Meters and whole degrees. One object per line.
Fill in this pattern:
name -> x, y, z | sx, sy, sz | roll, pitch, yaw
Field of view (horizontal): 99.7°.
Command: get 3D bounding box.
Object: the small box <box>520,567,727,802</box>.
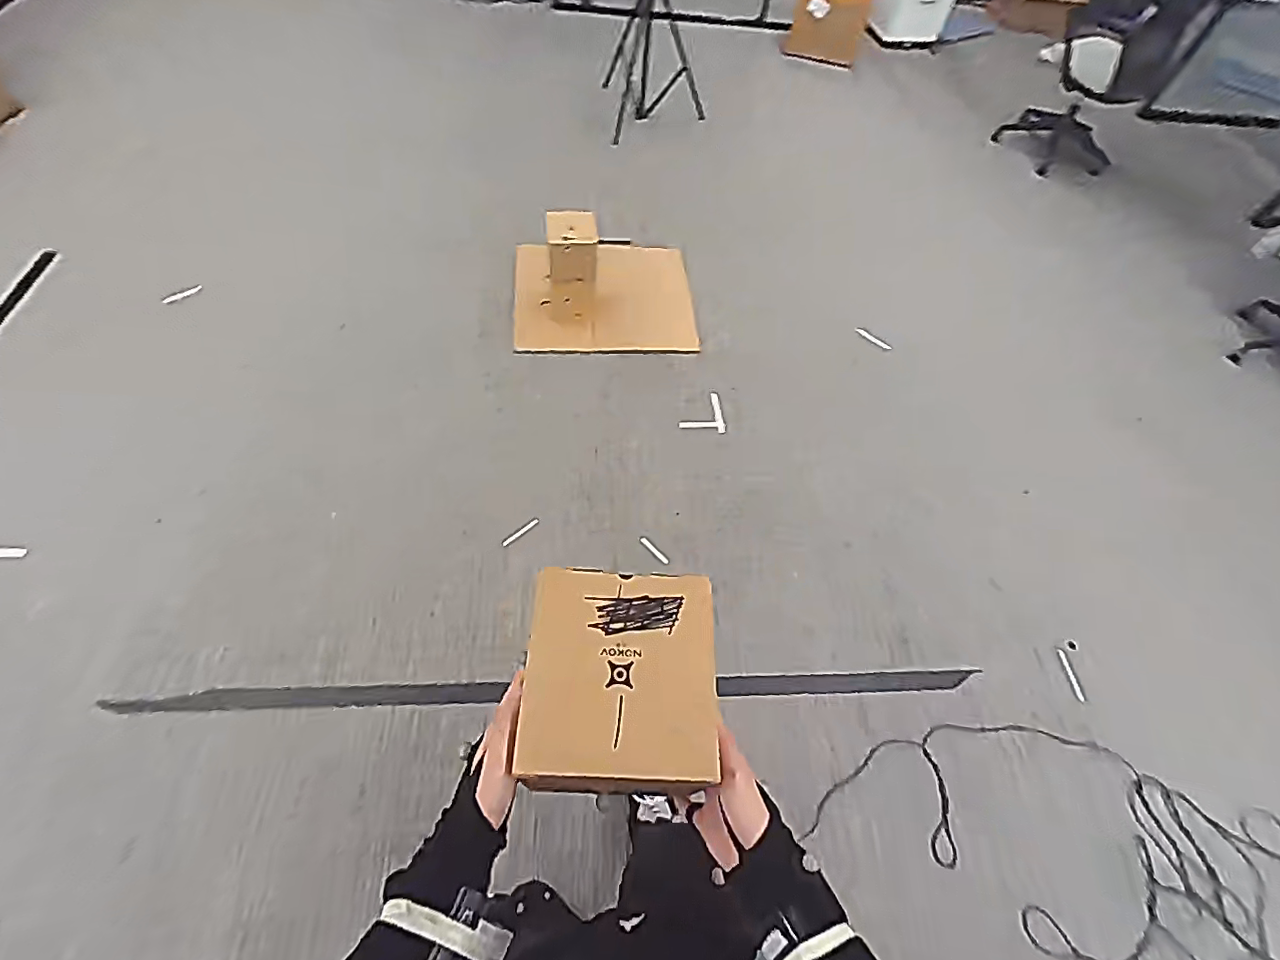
small box -> -0.016, 0.206, 0.531 | 0.168, 0.176, 0.179 | 5, 56, -3

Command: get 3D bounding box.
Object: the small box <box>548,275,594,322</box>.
small box -> -0.259, -0.712, 2.030 | 0.168, 0.176, 0.179 | -4, 59, -9

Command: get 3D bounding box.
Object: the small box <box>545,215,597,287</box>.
small box -> -0.244, -0.800, 1.892 | 0.168, 0.176, 0.179 | -5, 59, -9
